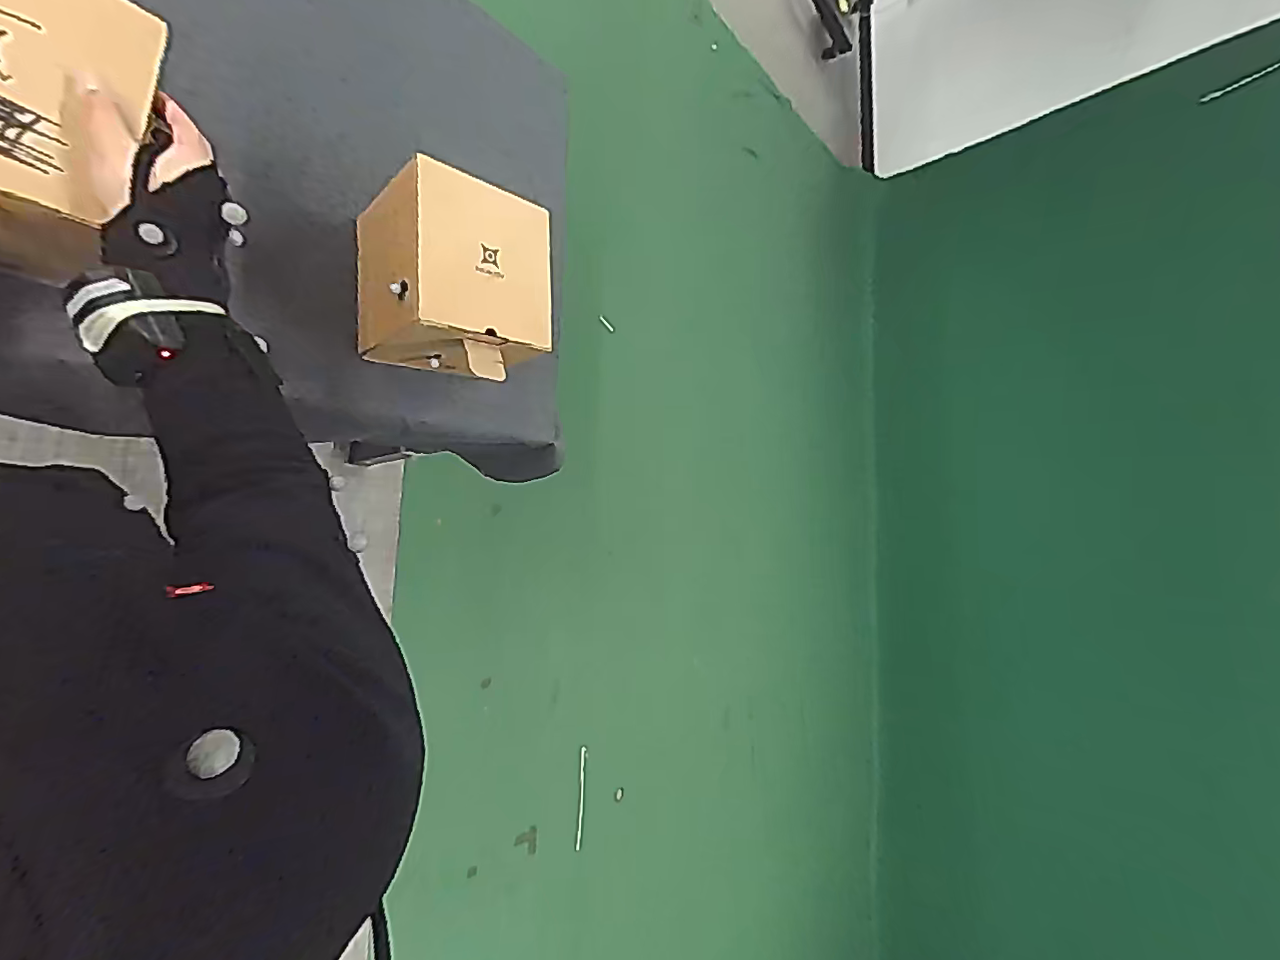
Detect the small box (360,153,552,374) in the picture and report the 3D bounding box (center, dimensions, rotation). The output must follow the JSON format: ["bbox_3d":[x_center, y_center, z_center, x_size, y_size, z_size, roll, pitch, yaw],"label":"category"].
[{"bbox_3d":[-0.224,-0.239,0.652,0.168,0.176,0.179,0,87,-46],"label":"small box"}]
